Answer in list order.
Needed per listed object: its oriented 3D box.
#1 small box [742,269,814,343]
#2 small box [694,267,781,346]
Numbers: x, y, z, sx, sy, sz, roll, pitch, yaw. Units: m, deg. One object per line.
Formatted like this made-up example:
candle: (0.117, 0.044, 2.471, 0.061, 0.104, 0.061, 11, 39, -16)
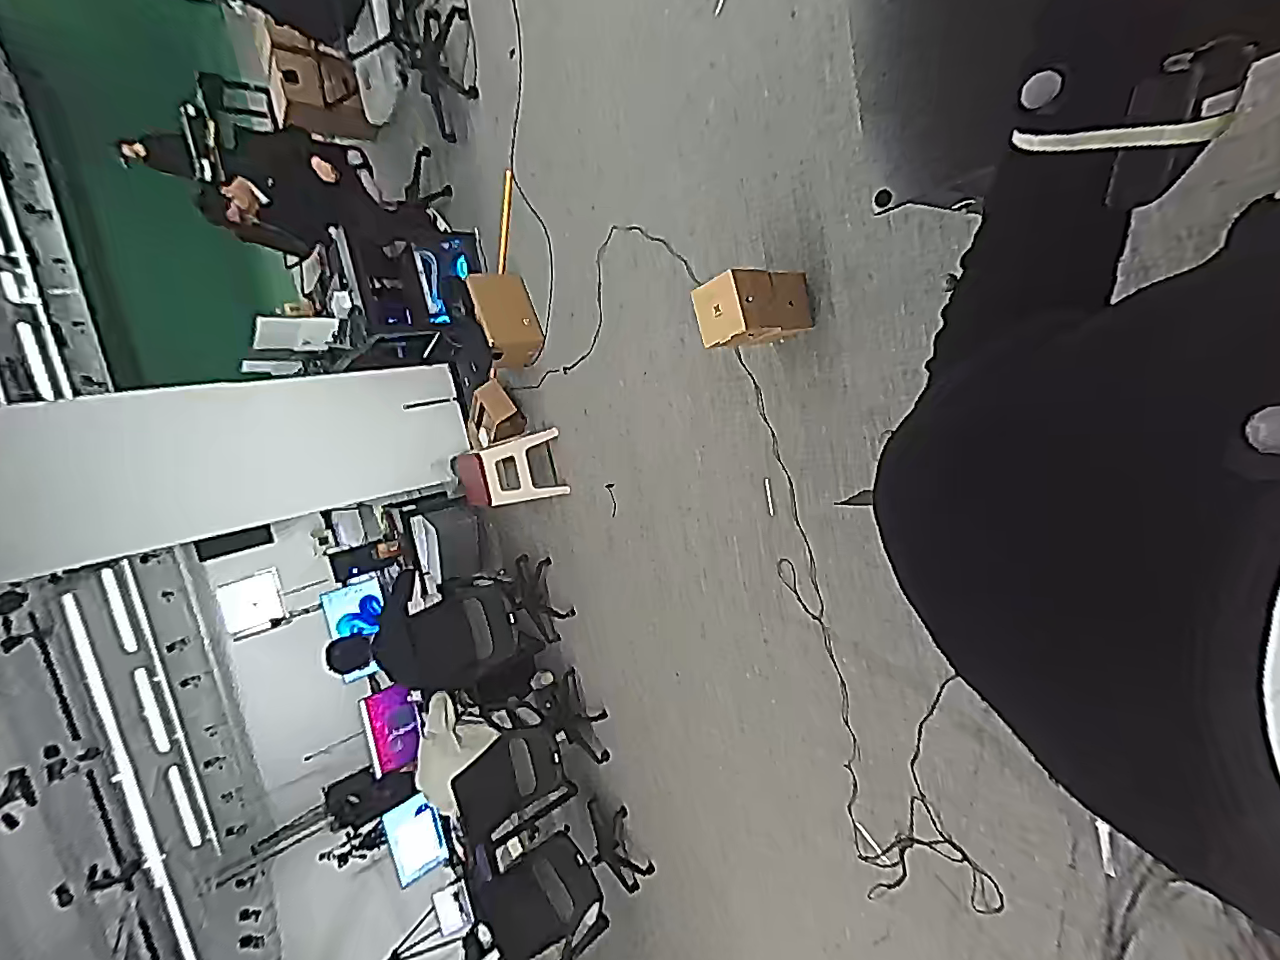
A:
small box: (0.415, -0.537, 1.679, 0.168, 0.176, 0.179, -7, 98, 53)
small box: (0.288, -0.507, 1.581, 0.168, 0.176, 0.179, -12, 93, 52)
